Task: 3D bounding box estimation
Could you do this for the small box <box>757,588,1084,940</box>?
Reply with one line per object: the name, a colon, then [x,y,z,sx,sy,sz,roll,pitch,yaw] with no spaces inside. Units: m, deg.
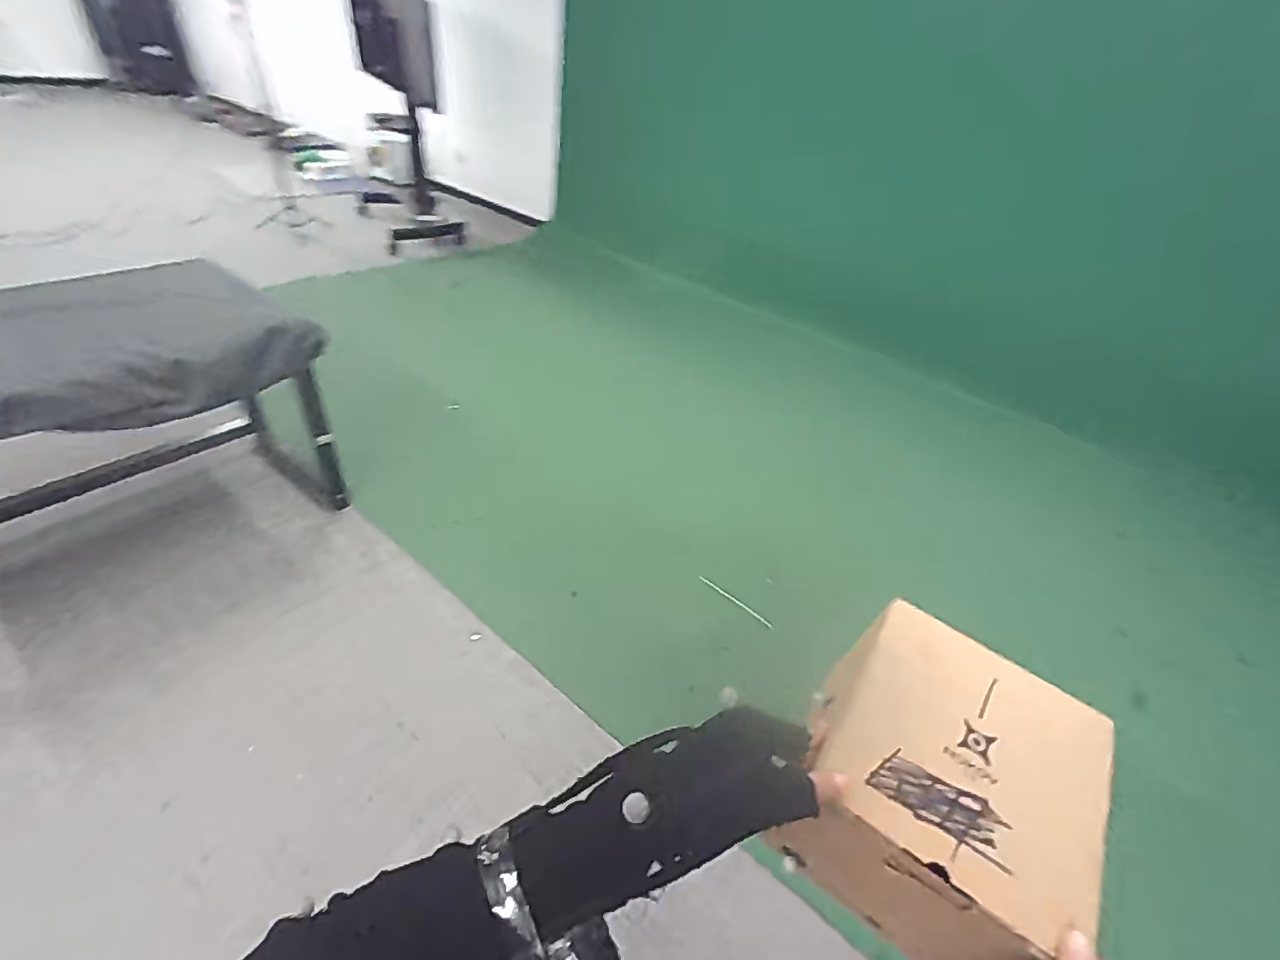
small box: [0.213,0.232,0.445,0.168,0.176,0.179,30,51,18]
